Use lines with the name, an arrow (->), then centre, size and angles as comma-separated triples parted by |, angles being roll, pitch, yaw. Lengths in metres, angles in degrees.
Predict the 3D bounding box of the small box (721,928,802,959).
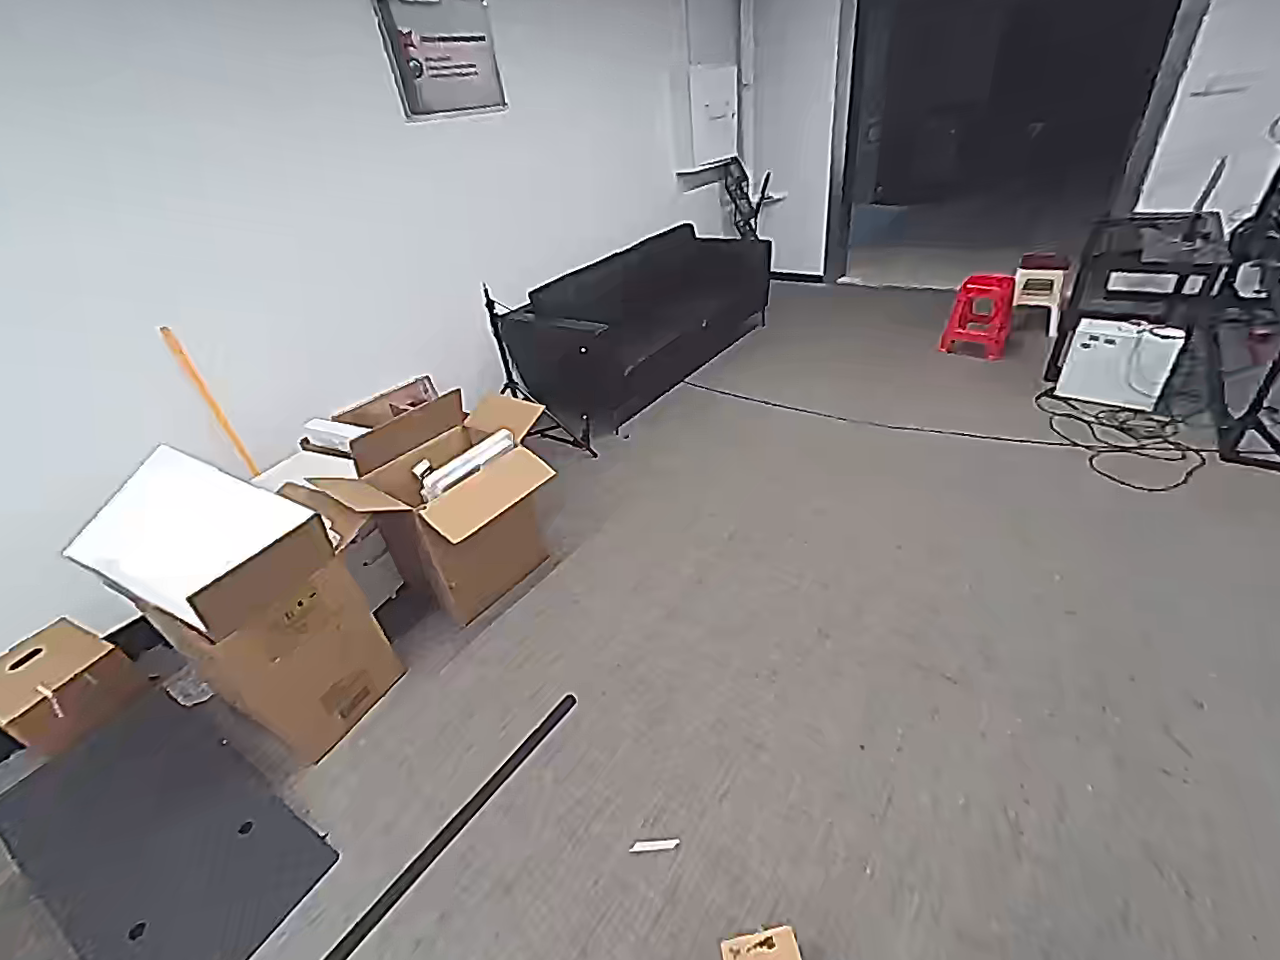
small box -> 0.278, 1.114, 1.164 | 0.168, 0.176, 0.179 | -10, 35, -4
